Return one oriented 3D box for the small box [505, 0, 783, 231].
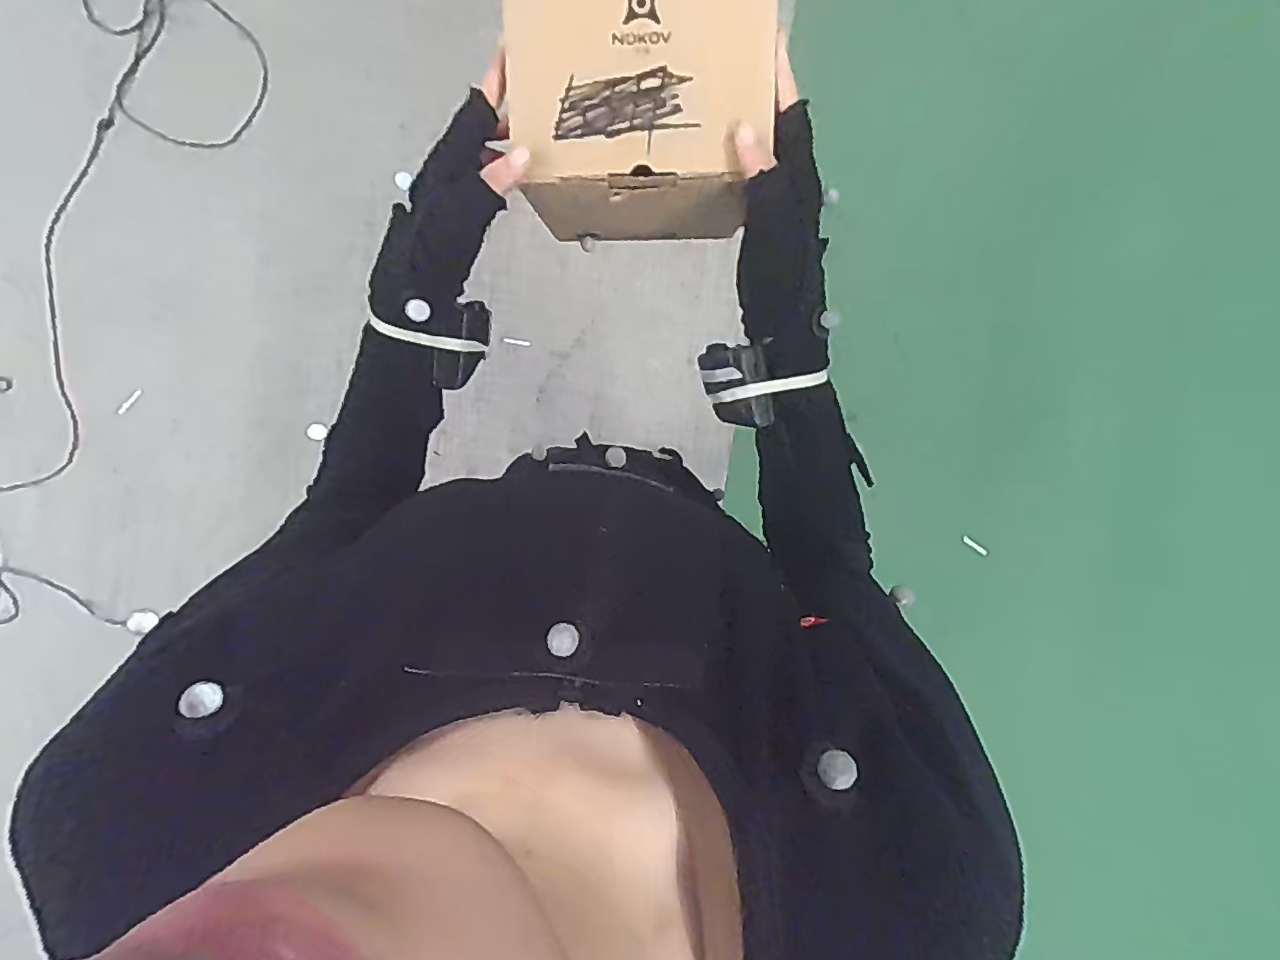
[{"bbox_3d":[0.004,-0.291,0.394,0.168,0.176,0.179,0,101,0],"label":"small box"}]
